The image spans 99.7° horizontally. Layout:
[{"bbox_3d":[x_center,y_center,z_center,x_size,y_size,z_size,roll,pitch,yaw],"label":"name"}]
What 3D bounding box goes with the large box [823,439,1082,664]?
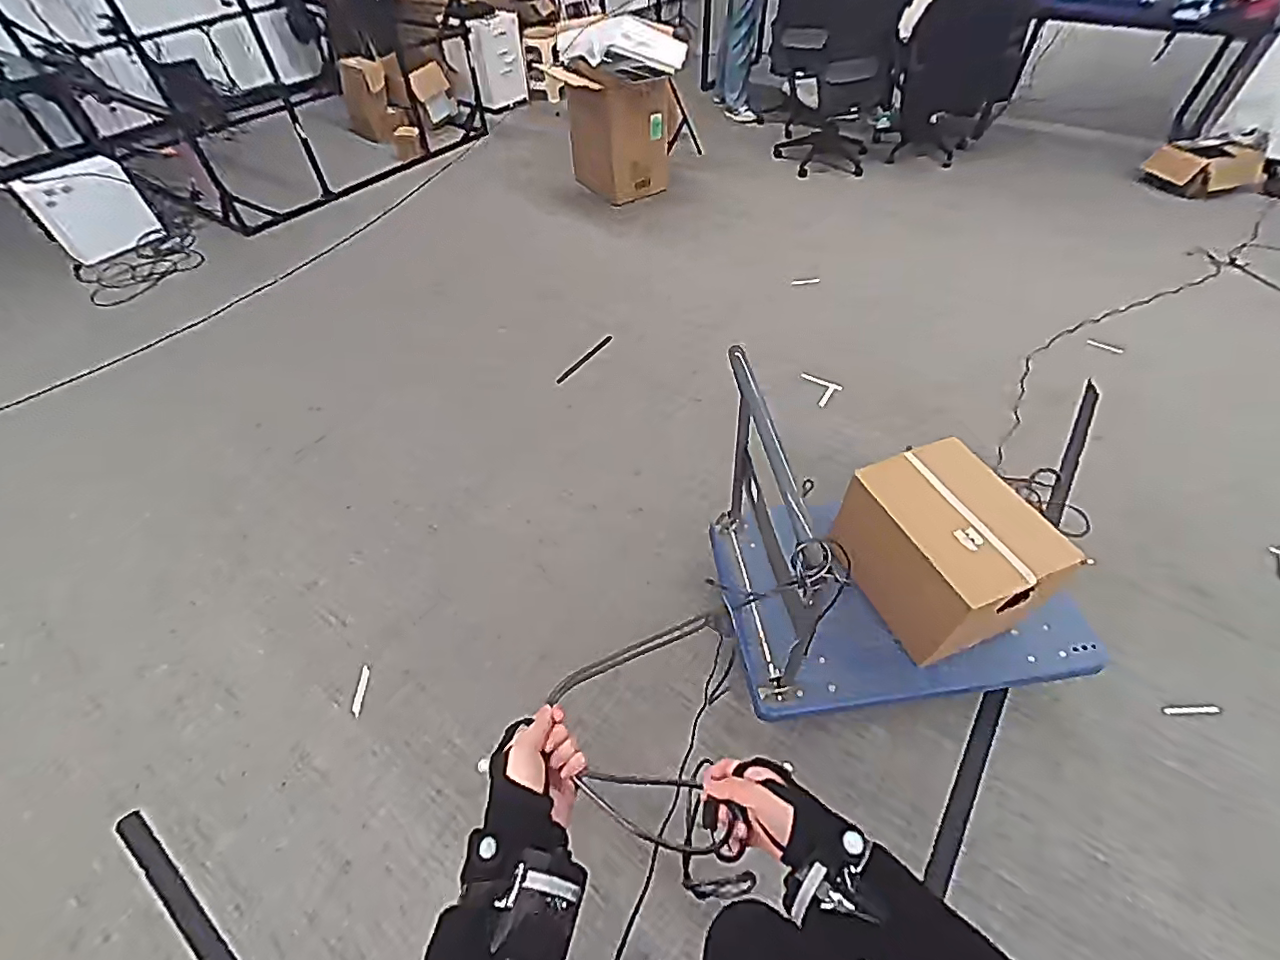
[{"bbox_3d":[0.729,0.171,1.347,0.320,0.320,0.408,-18,52,-12],"label":"large box"}]
